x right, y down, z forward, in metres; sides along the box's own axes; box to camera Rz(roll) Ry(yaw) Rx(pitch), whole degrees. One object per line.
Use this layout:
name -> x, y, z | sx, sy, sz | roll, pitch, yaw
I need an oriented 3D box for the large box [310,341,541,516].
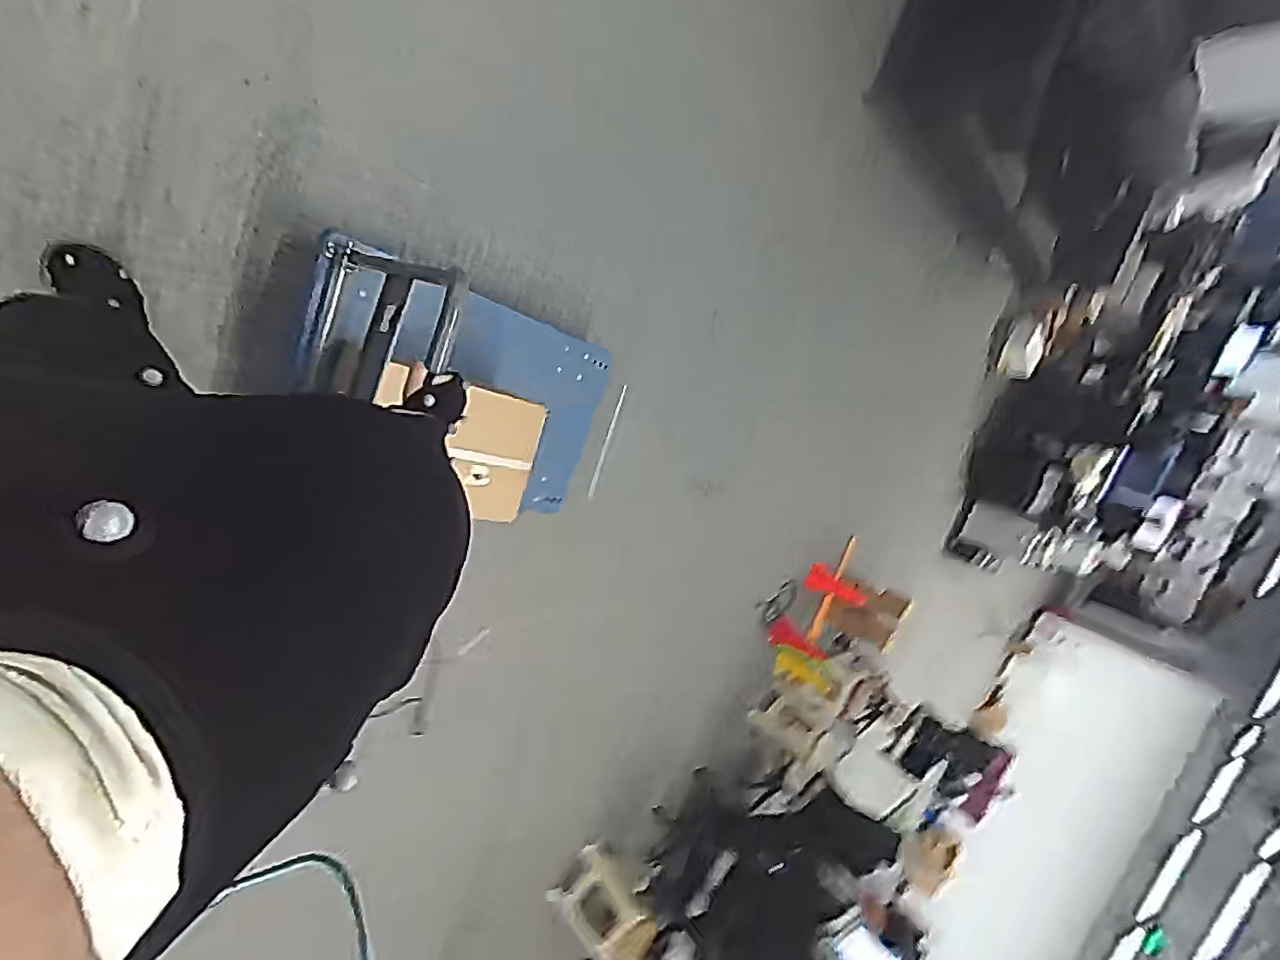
large box -> -0.527, -0.121, 1.330 | 0.408, 0.320, 0.320 | 12, 101, -45
